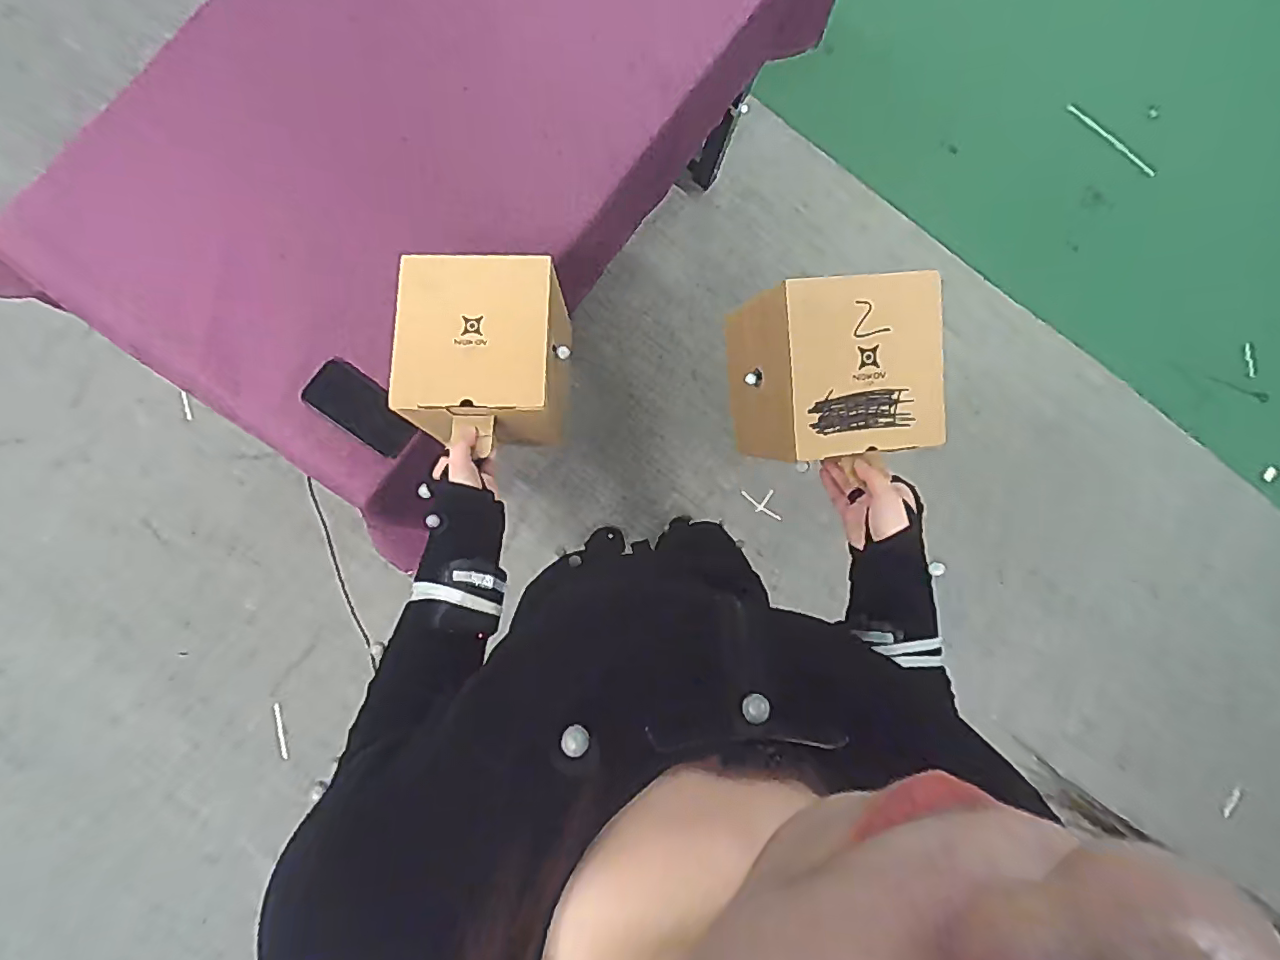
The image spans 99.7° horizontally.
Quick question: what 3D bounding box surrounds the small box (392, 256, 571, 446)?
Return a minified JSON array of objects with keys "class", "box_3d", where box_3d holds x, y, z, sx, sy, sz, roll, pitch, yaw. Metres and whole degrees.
[{"class":"small box","box_3d":[-0.178,-0.147,0.662,0.168,0.176,0.179,1,81,1]}]
